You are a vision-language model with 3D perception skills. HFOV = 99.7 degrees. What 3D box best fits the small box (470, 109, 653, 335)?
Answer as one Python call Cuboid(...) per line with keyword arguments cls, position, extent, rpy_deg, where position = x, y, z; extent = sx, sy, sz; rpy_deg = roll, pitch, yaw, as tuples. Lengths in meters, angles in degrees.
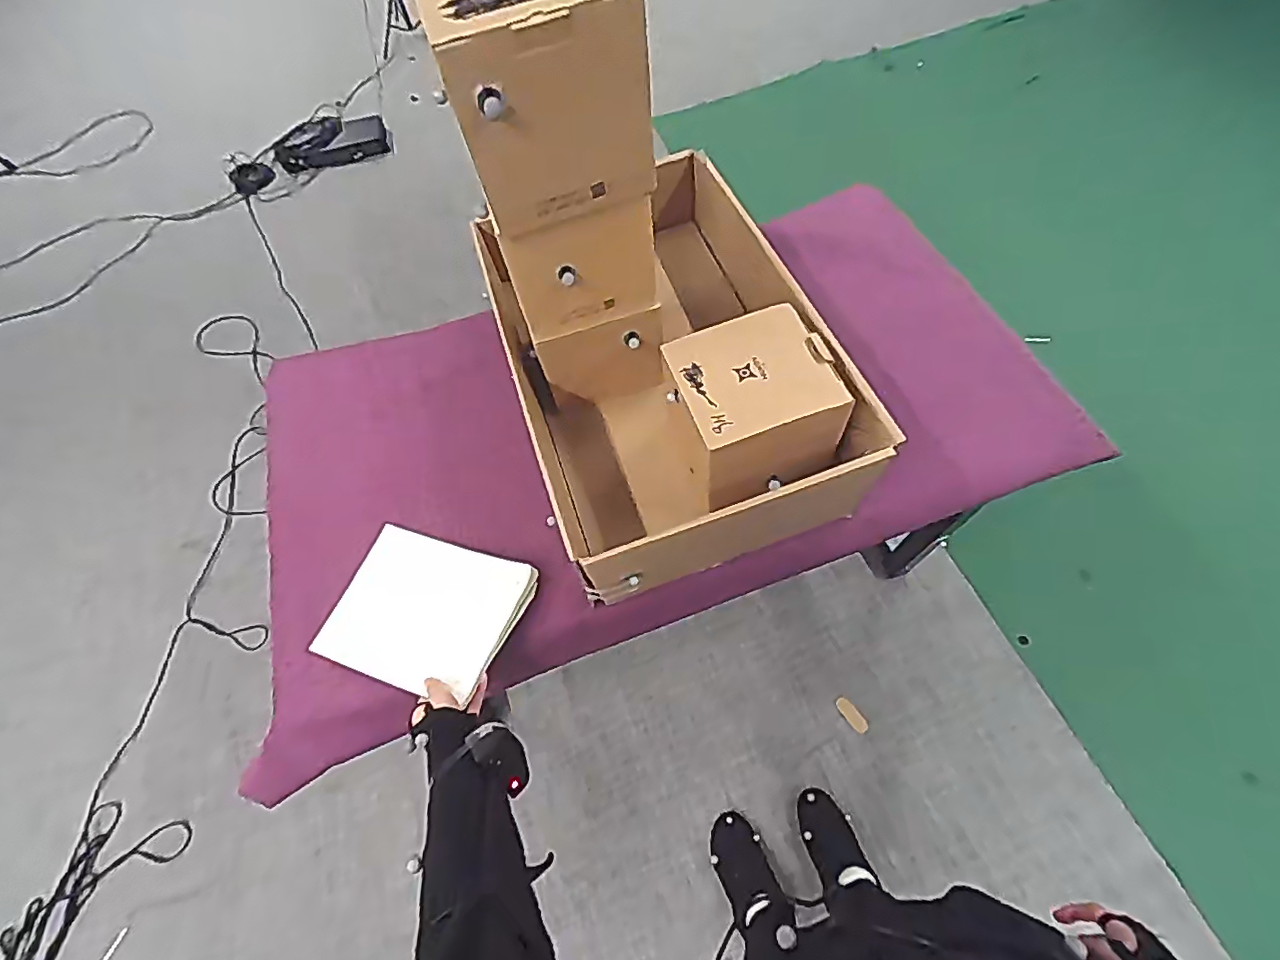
Cuboid(cls="small box", position=(-0.088, -0.301, 0.662), extent=(0.168, 0.176, 0.179), rpy_deg=(-18, 63, -4))
